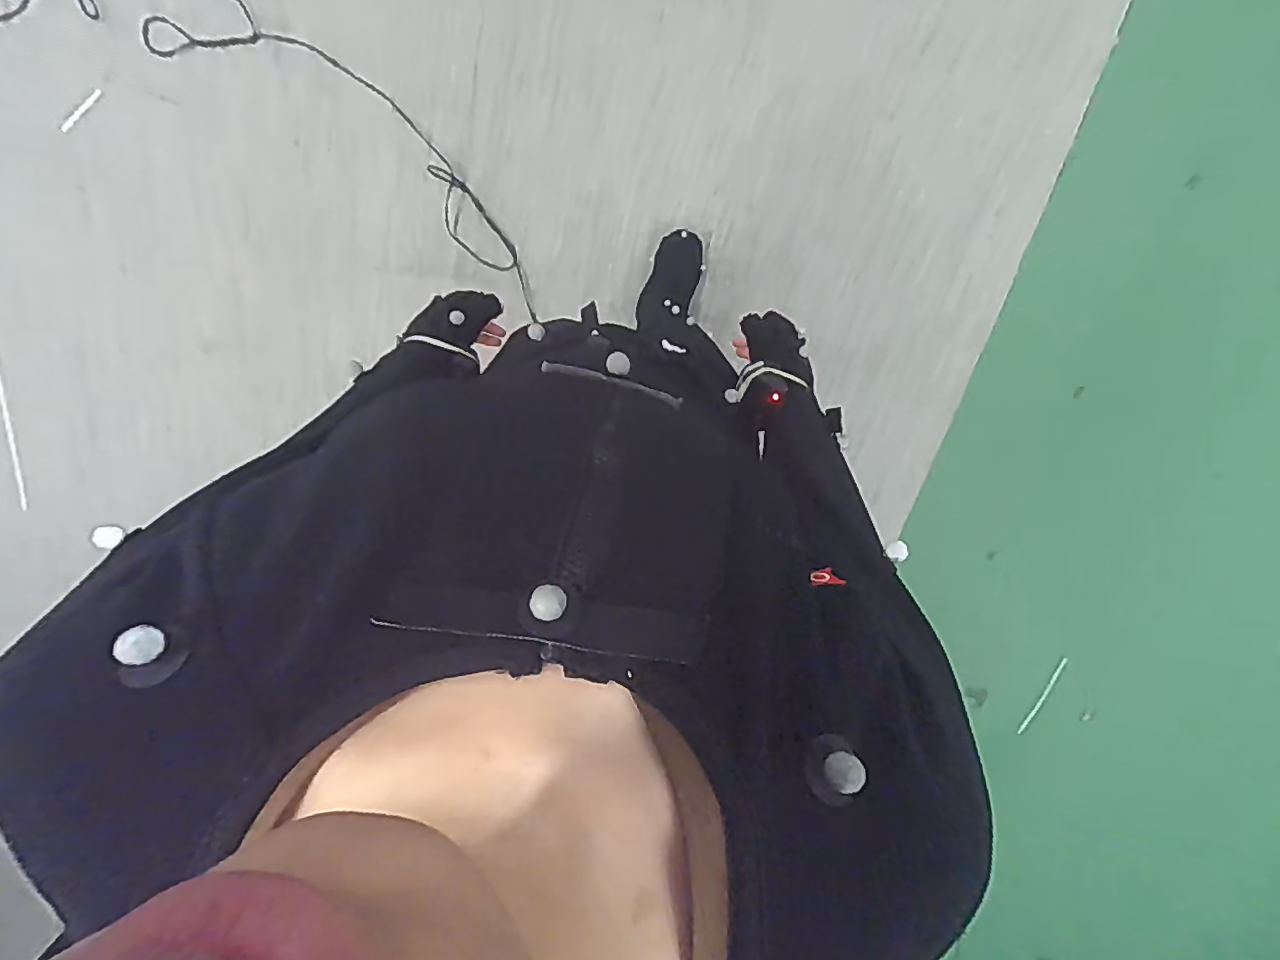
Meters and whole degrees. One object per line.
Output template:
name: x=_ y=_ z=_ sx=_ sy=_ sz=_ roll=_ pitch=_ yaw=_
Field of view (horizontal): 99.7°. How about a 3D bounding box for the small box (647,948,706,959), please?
small box: x=0.077 y=1.032 z=1.014 sx=0.168 sy=0.176 sz=0.179 roll=15 pitch=110 yaw=-2
